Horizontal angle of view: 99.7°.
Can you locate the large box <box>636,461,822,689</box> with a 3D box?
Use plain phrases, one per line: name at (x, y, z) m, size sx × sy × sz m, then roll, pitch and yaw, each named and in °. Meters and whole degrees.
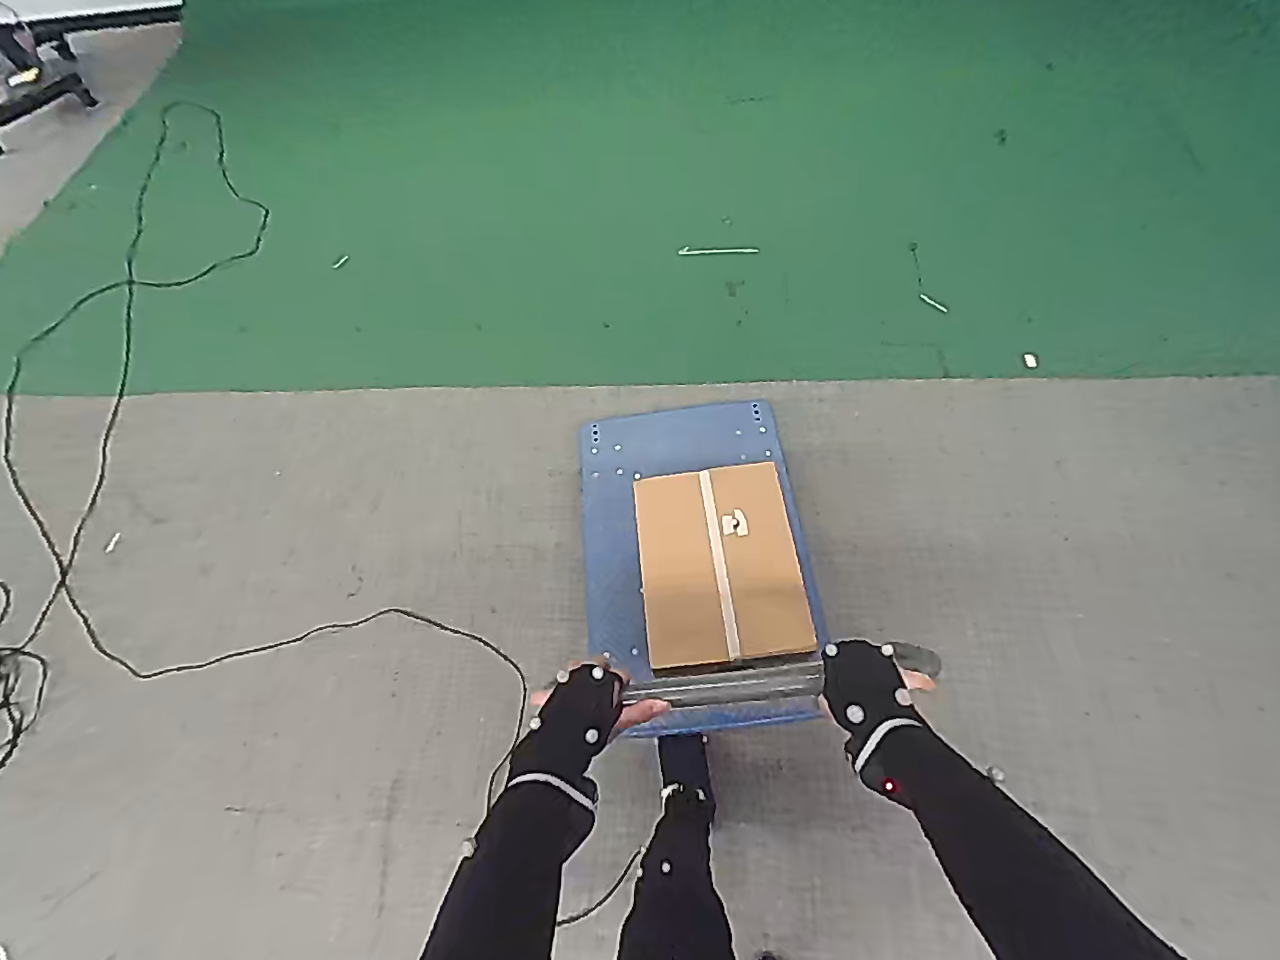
large box at (0.180, 0.222, 1.213) m, size 0.320 × 0.320 × 0.408 m, roll -7°, pitch 61°, yaw 2°
